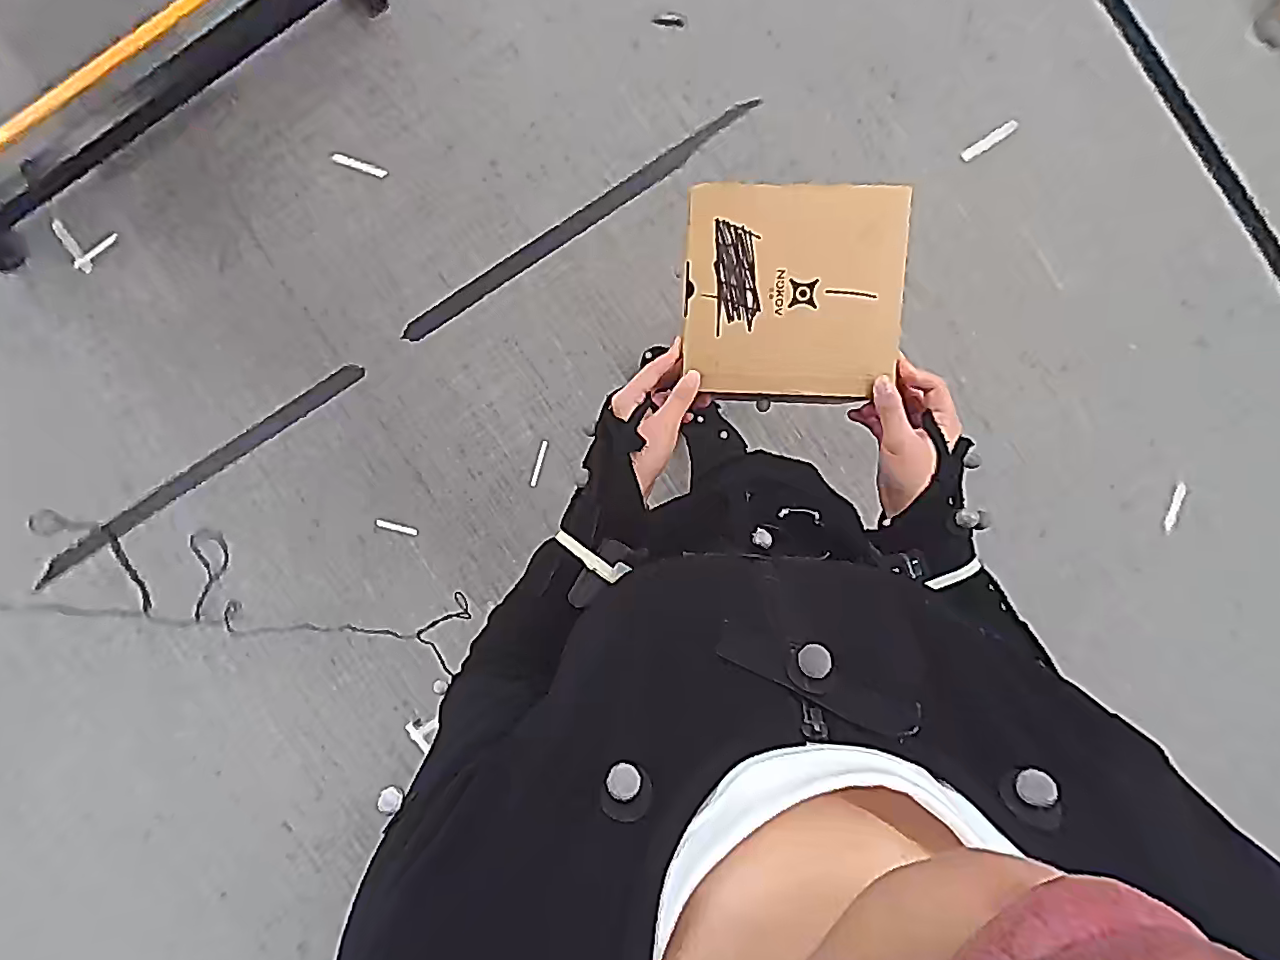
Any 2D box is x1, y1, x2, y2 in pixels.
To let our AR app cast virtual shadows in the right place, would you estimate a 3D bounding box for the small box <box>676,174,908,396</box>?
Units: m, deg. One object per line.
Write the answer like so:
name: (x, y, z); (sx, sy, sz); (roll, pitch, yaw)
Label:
small box: (0.126, -0.166, 0.511); (0.179, 0.176, 0.168); (2, 97, 5)
